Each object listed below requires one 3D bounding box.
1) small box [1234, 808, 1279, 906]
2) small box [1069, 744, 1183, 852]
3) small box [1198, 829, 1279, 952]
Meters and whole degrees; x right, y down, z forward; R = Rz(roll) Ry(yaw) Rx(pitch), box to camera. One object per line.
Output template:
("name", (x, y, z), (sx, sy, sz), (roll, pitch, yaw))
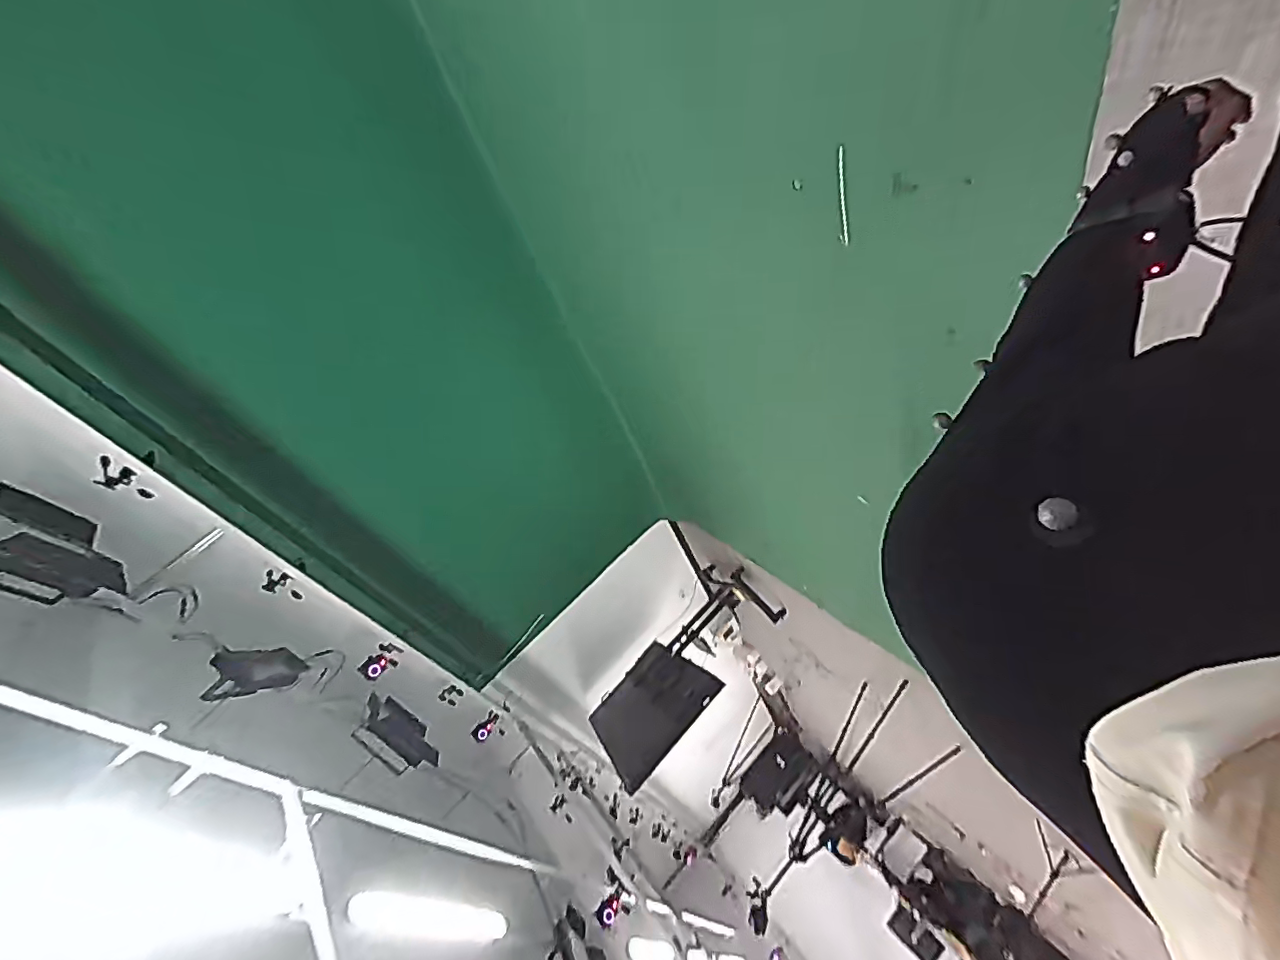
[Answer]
("small box", (1.391, 0.801, 1.105), (0.168, 0.176, 0.179), (32, 158, 44))
("small box", (1.313, 0.858, 1.466), (0.168, 0.176, 0.179), (32, 159, 43))
("small box", (1.489, 0.971, 1.276), (0.168, 0.176, 0.179), (32, 158, 45))
